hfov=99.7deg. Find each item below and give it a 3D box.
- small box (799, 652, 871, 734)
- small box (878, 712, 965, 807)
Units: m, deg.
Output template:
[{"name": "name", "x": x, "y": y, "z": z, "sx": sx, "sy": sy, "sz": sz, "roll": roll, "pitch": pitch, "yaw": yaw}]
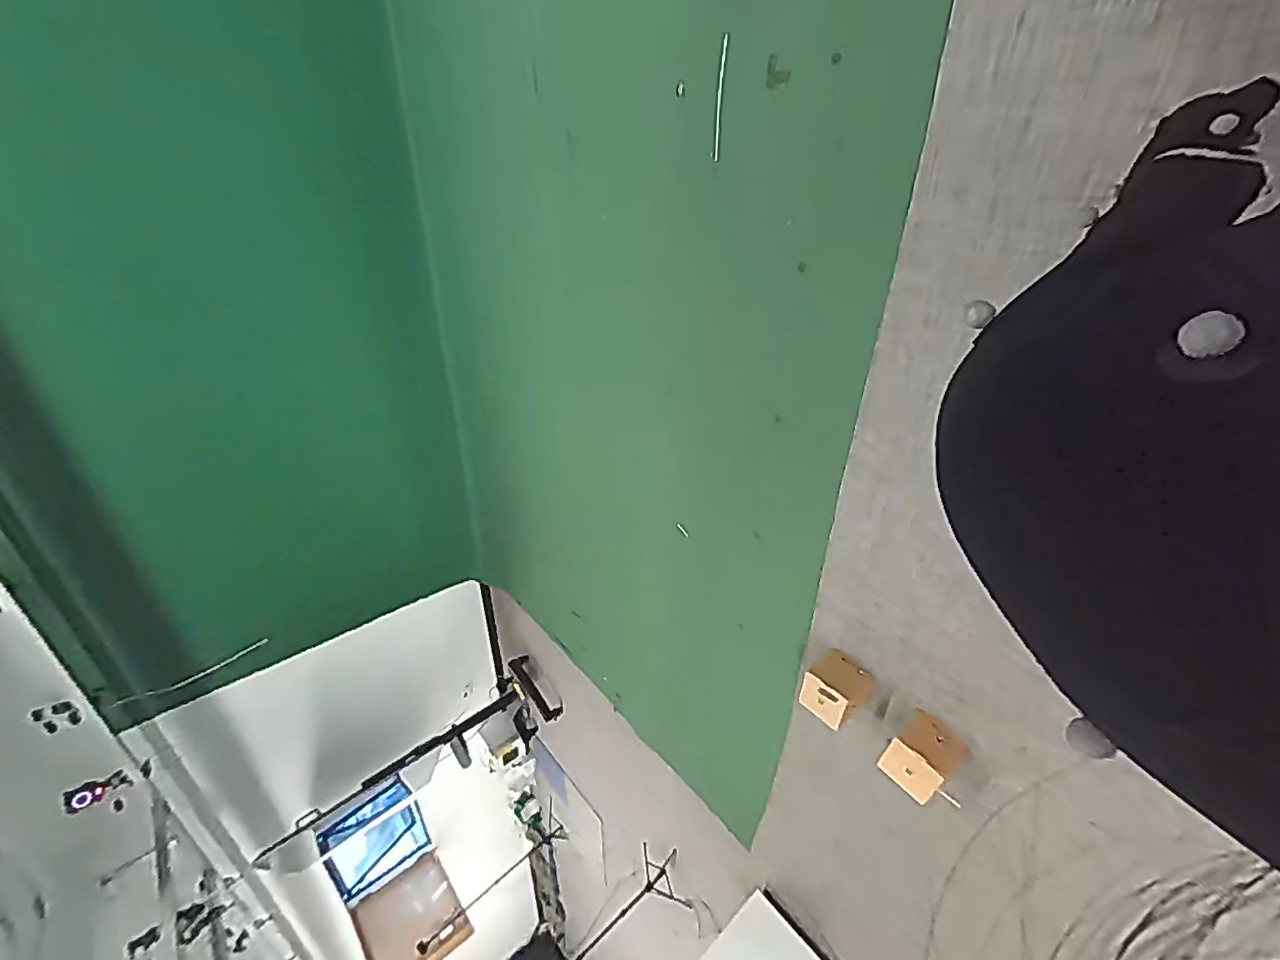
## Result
[{"name": "small box", "x": 0.703, "y": 0.758, "z": 1.944, "sx": 0.168, "sy": 0.176, "sz": 0.179, "roll": 32, "pitch": 132, "yaw": 40}, {"name": "small box", "x": 0.911, "y": 0.897, "z": 1.746, "sx": 0.168, "sy": 0.176, "sz": 0.179, "roll": 36, "pitch": 134, "yaw": 37}]
